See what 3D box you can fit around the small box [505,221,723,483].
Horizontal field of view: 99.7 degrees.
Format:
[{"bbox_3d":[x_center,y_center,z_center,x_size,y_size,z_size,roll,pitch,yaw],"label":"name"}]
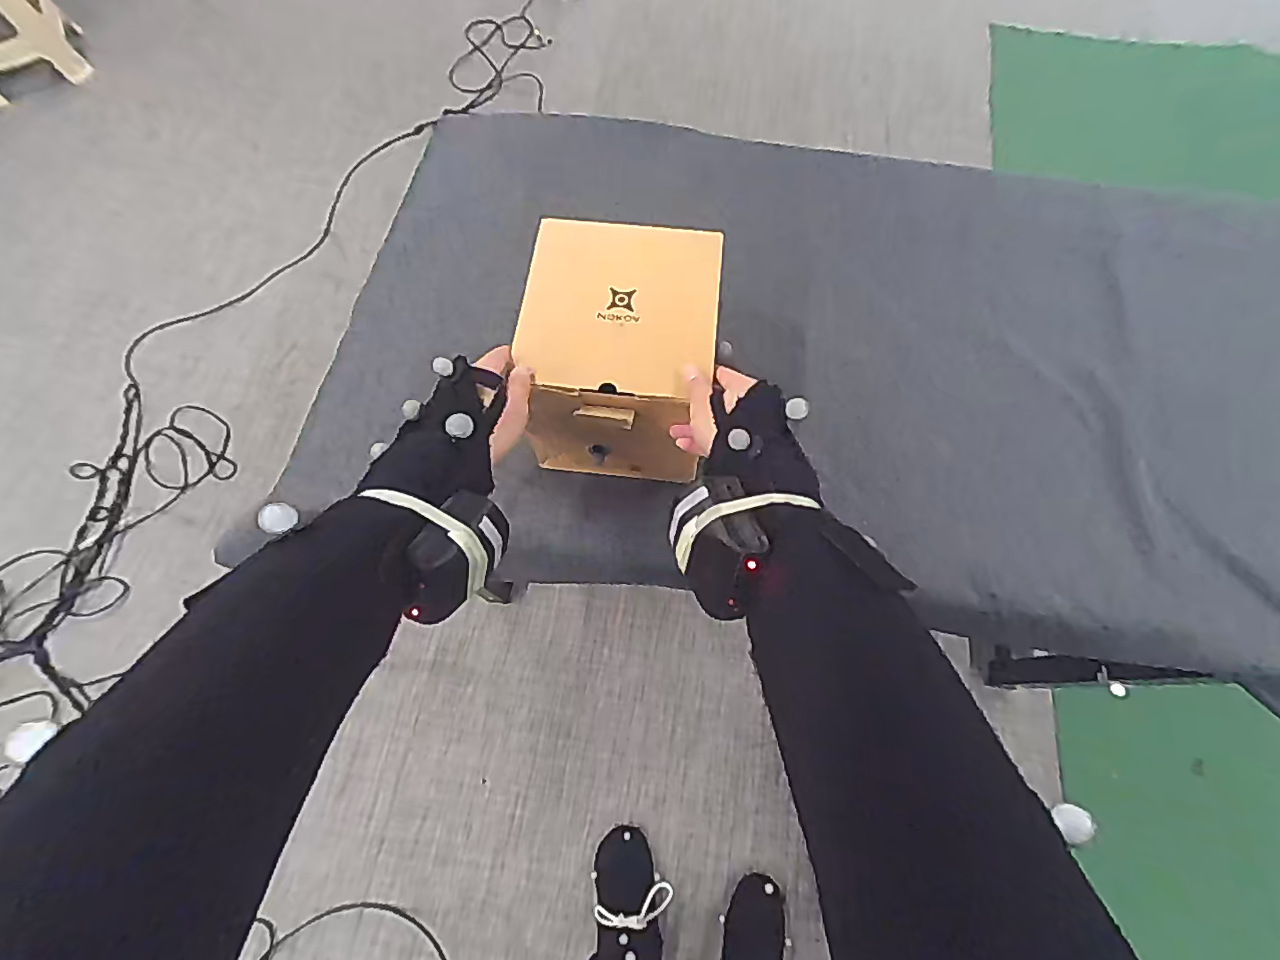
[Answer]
[{"bbox_3d":[-0.017,-0.114,0.523,0.168,0.176,0.179,5,69,2],"label":"small box"}]
